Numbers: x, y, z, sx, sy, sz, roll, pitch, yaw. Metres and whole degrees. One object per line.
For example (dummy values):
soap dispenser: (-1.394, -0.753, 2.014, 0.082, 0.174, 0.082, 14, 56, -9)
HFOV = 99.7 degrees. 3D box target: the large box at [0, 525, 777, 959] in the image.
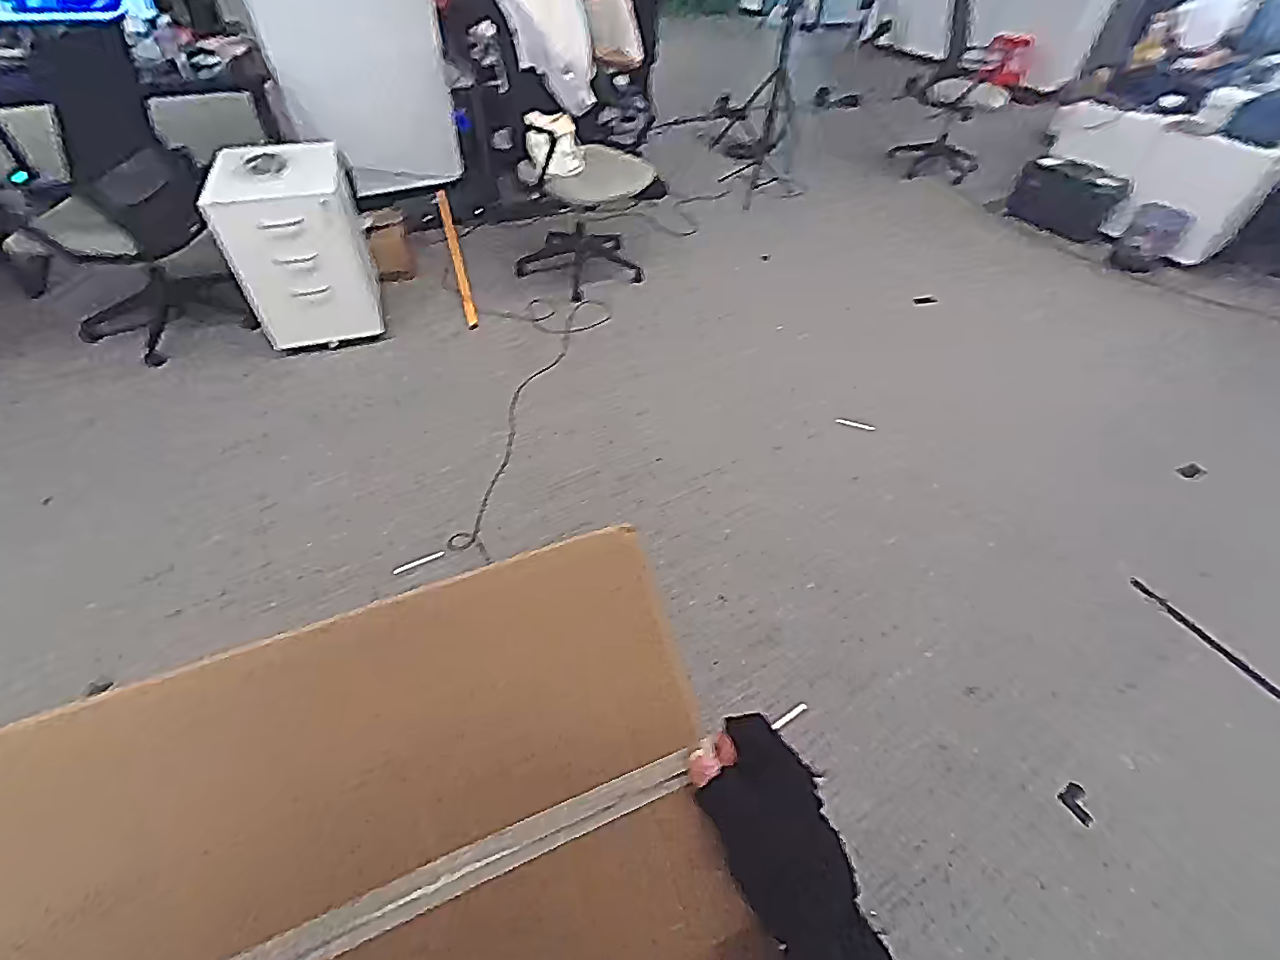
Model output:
large box: (-0.172, 0.260, 0.448, 0.408, 0.320, 0.320, -17, 84, -14)
